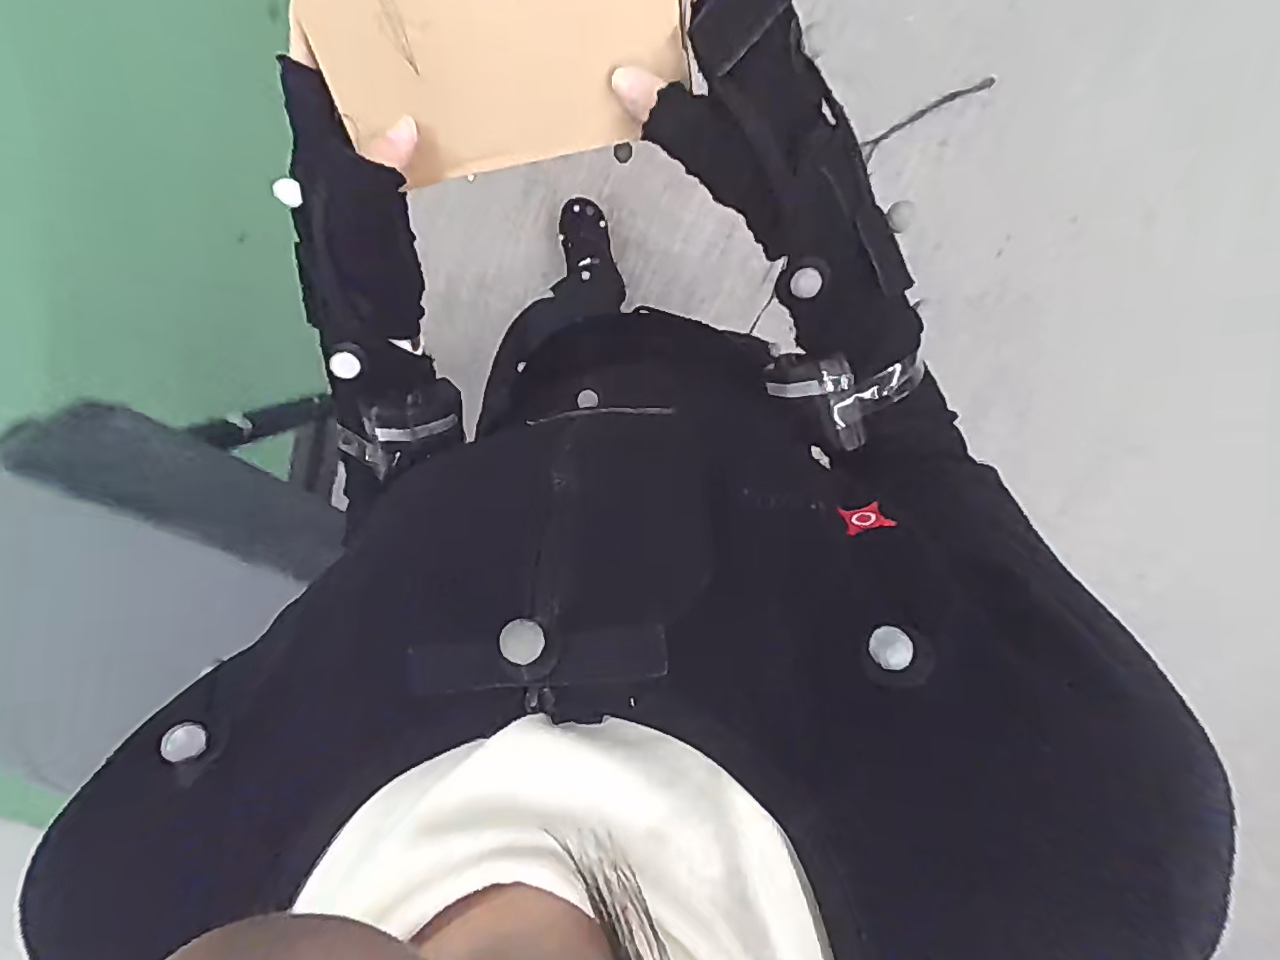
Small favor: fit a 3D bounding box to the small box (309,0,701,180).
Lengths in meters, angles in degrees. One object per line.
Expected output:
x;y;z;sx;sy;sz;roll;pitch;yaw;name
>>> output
-0.065;-0.284;0.298;0.179;0.176;0.168;-6;126;9;small box
